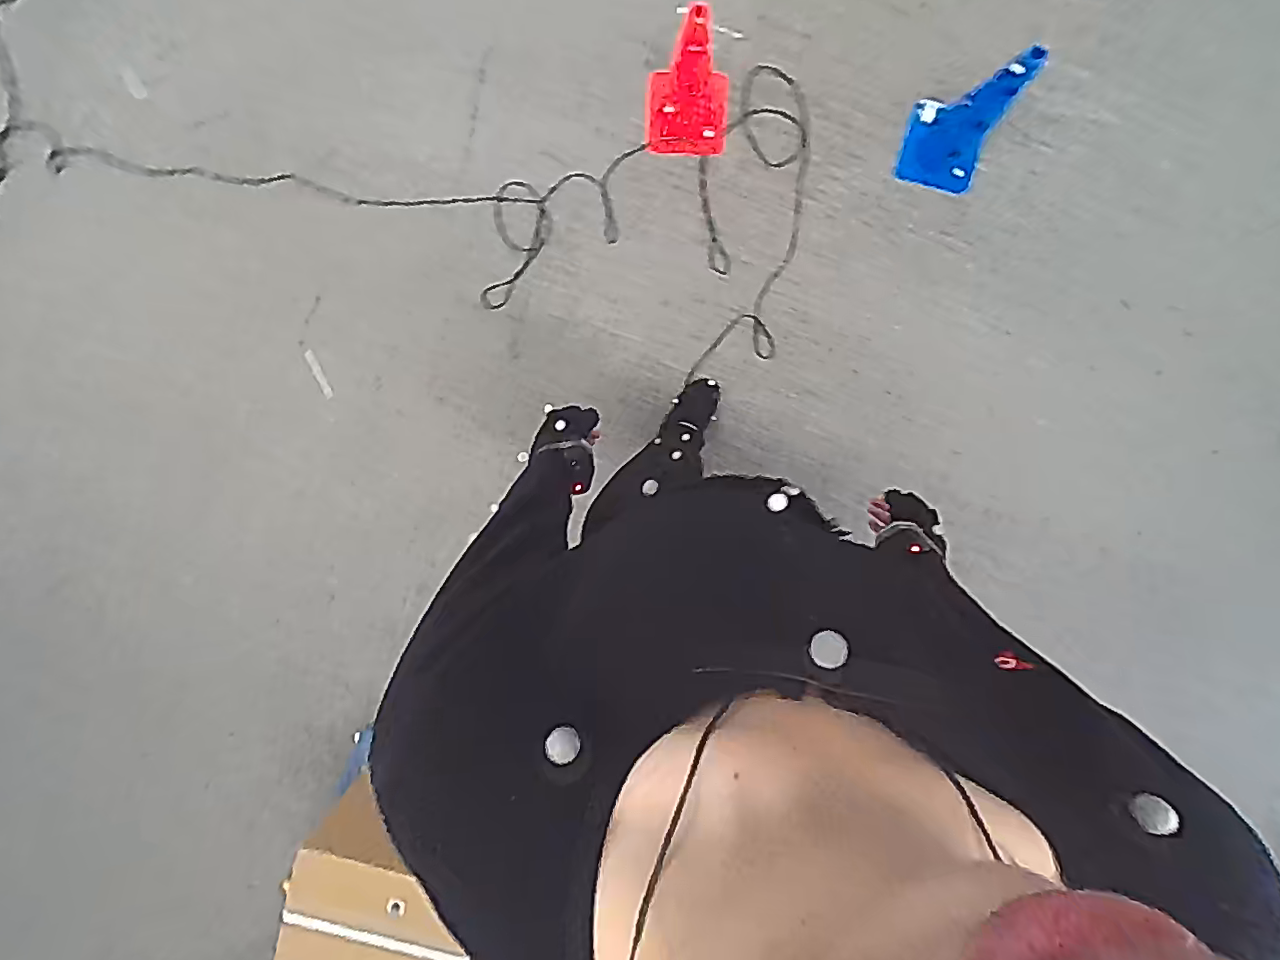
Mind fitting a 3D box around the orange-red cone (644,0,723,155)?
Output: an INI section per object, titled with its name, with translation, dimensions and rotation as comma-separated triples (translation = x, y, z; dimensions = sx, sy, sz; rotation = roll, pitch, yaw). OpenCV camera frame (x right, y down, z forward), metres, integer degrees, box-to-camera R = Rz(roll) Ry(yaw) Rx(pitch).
[orange-red cone]
translation = 0.110, -0.930, 1.217
dimensions = 0.198, 0.360, 0.199
rotation = 3, 95, 0
